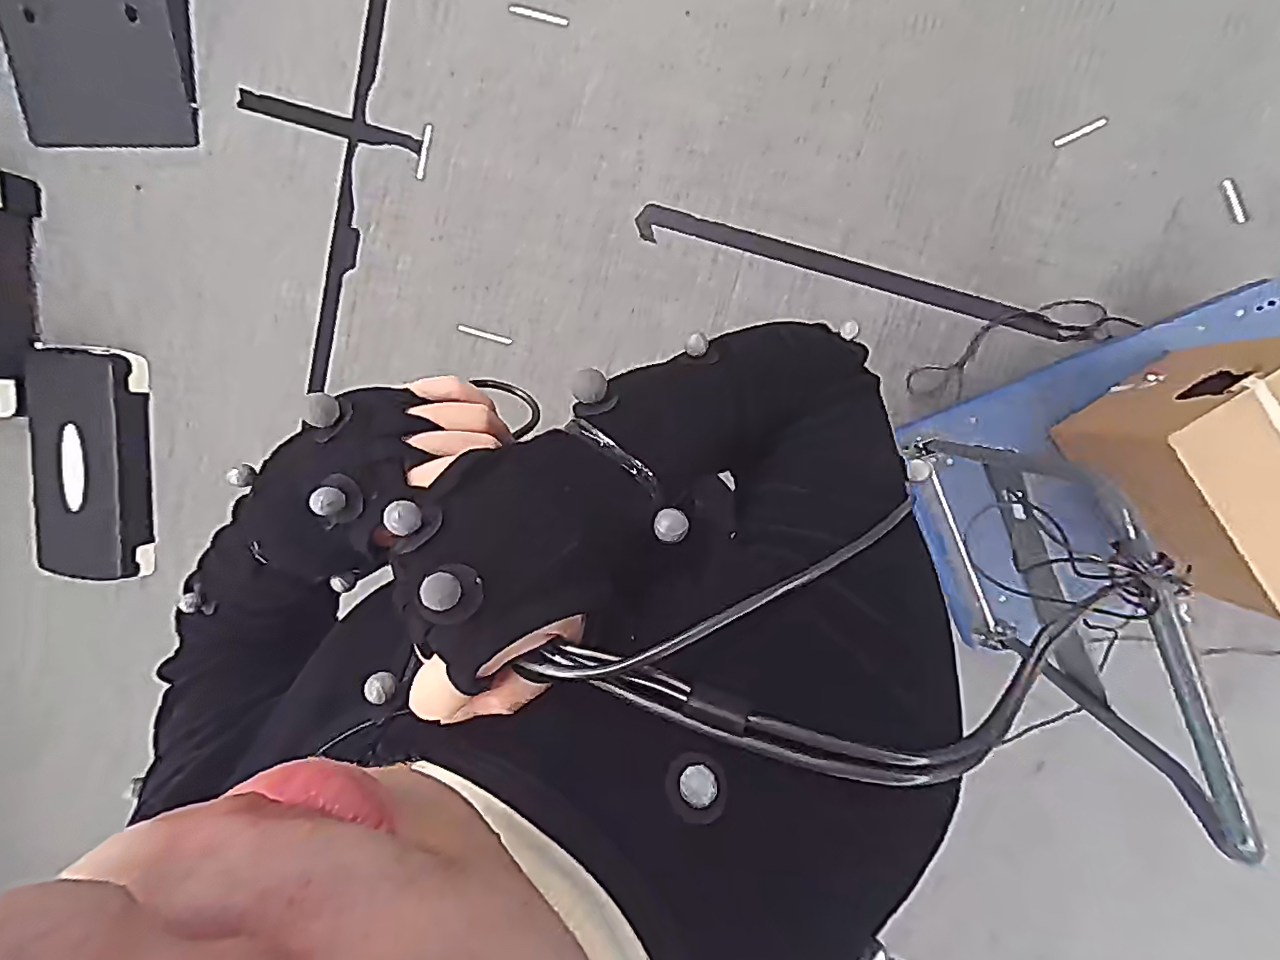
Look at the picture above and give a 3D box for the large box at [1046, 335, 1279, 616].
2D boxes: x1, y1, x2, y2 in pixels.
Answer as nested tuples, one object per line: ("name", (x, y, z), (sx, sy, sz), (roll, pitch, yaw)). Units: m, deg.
("large box", (1.135, -0.022, 1.065), (0.320, 0.320, 0.408), (-35, 94, 8))
